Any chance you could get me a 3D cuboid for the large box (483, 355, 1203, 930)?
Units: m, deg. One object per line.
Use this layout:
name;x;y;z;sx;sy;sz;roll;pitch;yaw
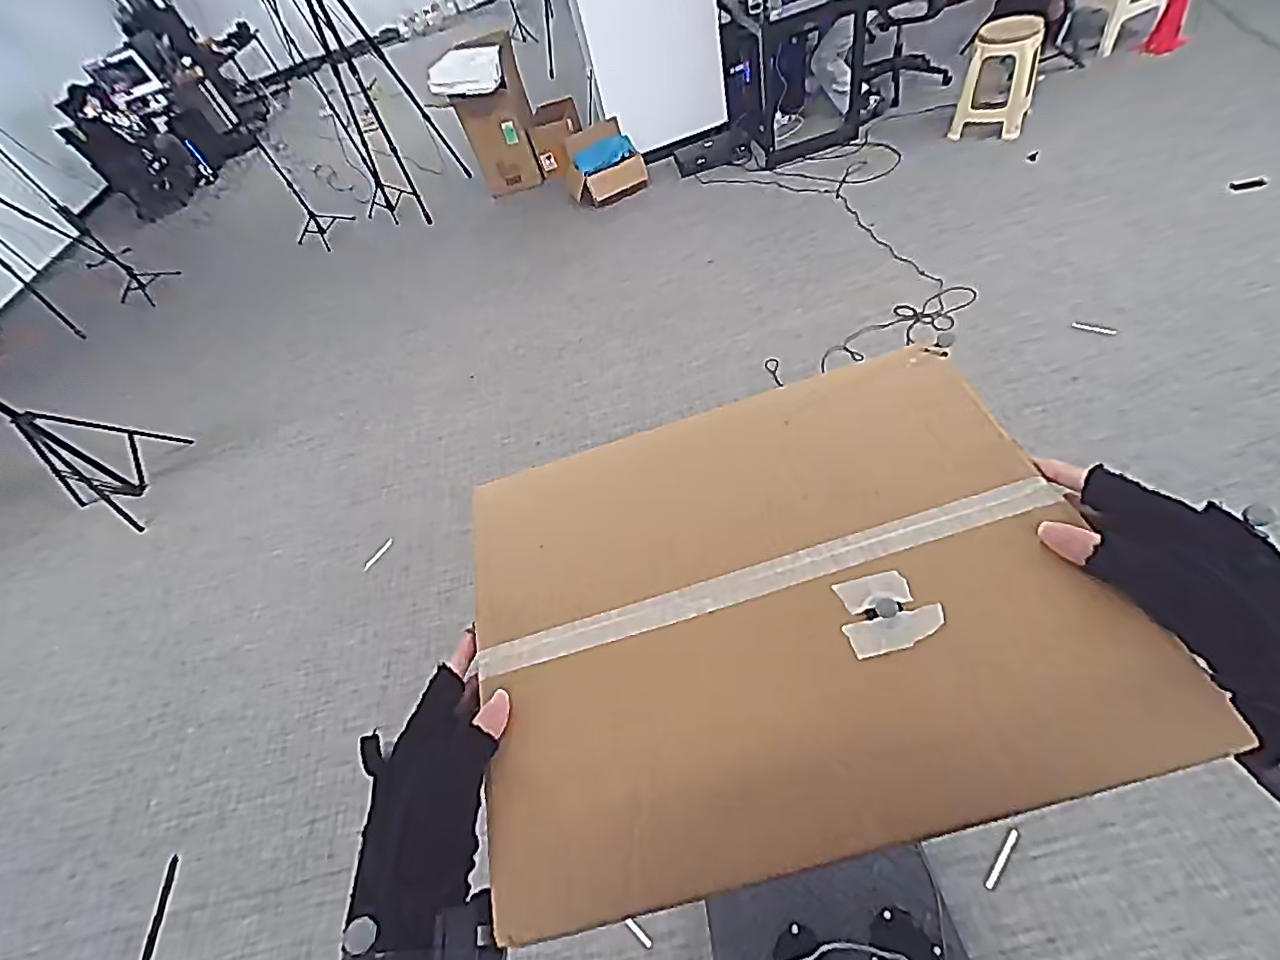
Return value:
large box;0.113;0.153;0.504;0.408;0.320;0.320;-18;56;3
